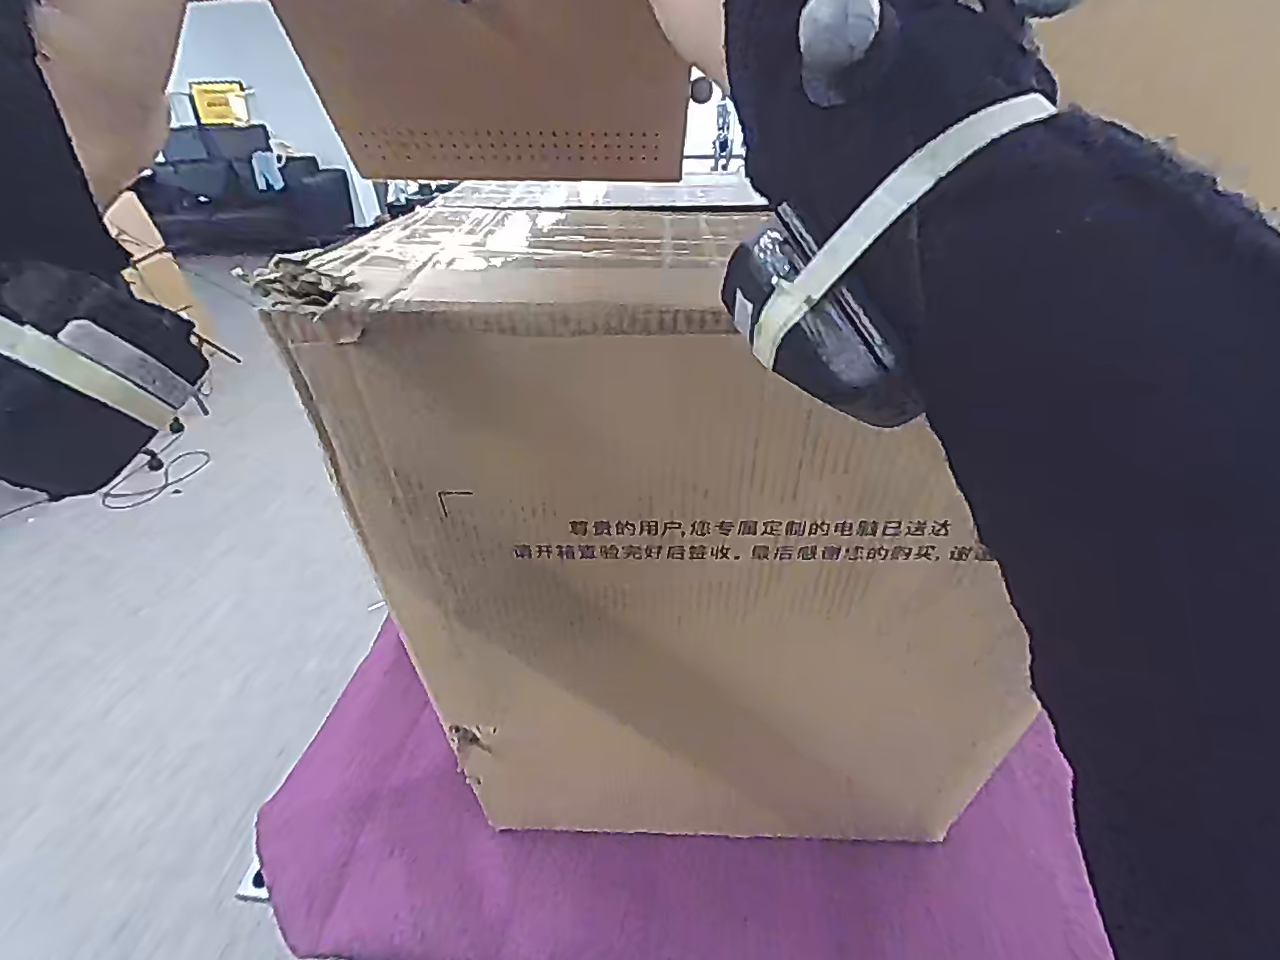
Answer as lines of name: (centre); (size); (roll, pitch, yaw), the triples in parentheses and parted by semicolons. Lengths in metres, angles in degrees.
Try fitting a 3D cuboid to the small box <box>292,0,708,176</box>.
small box: (-0.056, -0.267, 0.248); (0.179, 0.176, 0.168); (0, 67, 0)
